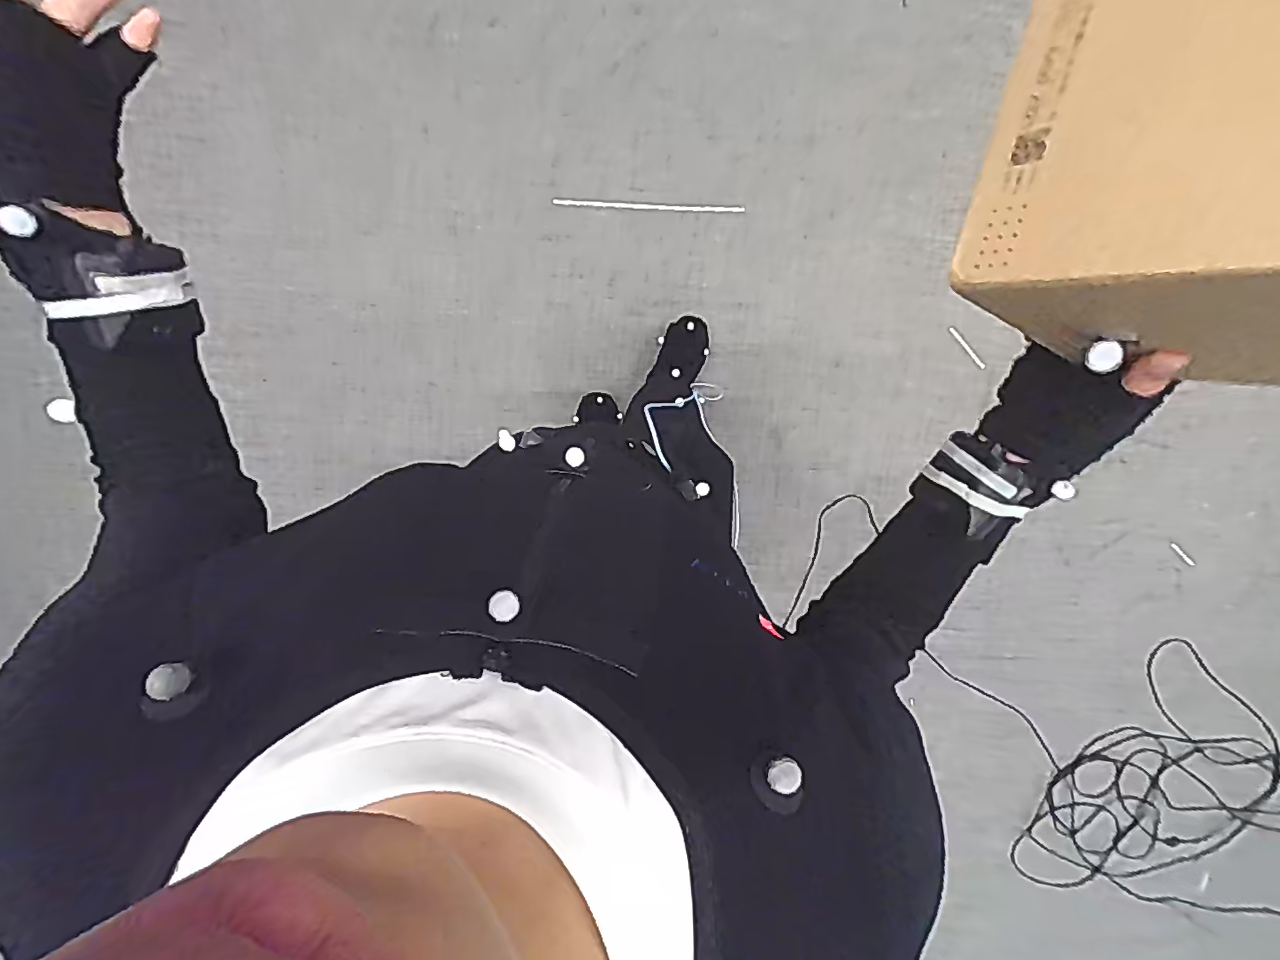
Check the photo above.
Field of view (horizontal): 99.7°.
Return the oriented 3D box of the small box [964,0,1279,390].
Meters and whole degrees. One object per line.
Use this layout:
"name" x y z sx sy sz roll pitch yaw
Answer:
"small box" 0.286 -0.138 0.232 0.179 0.176 0.168 11 99 -32
